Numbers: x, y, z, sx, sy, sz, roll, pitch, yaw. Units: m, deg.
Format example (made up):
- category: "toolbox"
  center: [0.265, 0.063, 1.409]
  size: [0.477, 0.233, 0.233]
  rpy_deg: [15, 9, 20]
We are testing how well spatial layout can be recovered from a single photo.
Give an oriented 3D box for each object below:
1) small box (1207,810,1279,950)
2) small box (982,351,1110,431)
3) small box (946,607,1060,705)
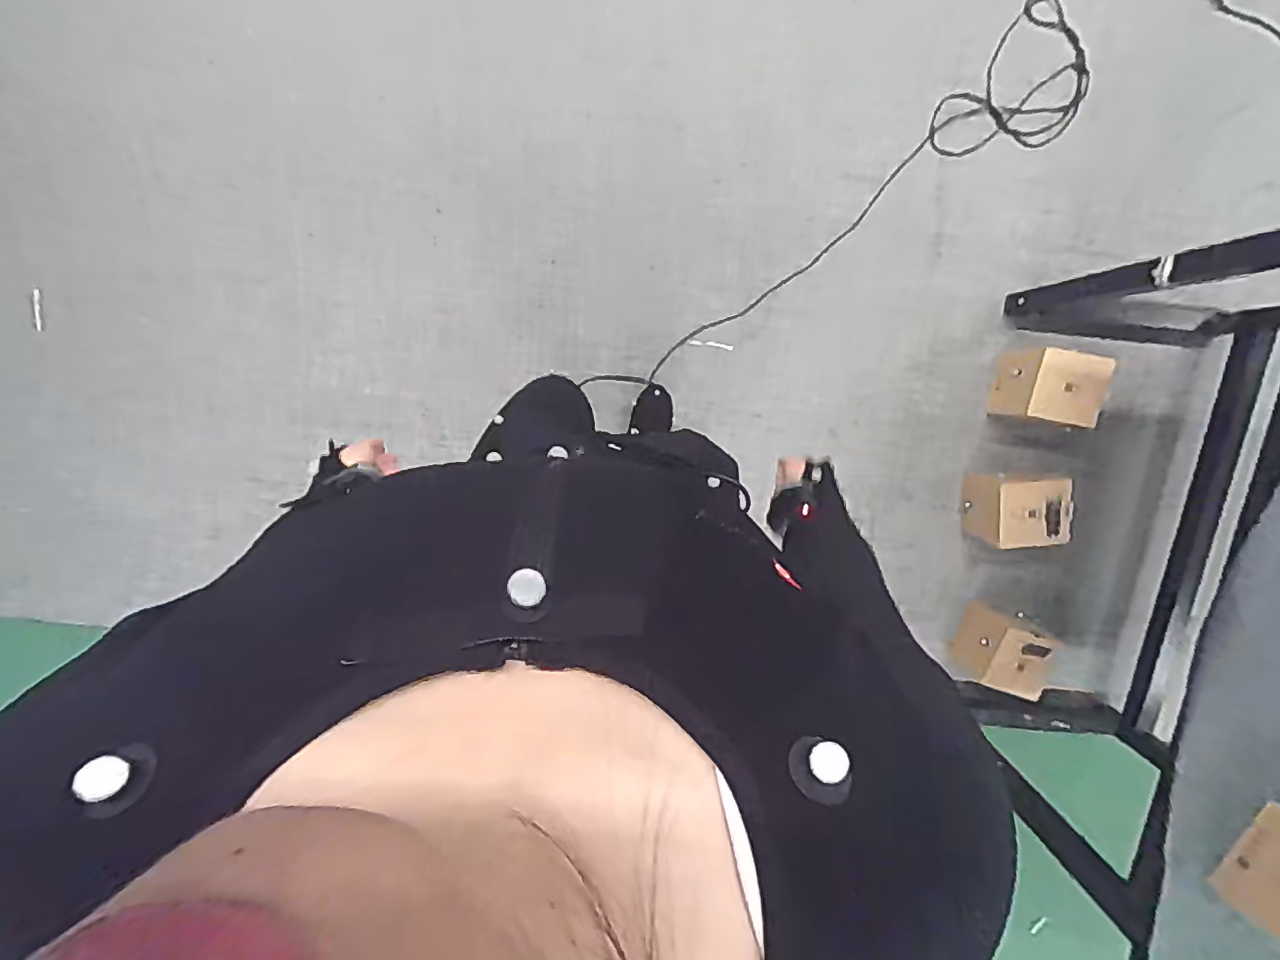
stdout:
- category: "small box"
  center: [0.992, 0.615, 0.767]
  size: [0.179, 0.176, 0.168]
  rpy_deg: [26, 99, -7]
- category: "small box"
  center: [1.014, -0.222, 1.368]
  size: [0.179, 0.176, 0.168]
  rpy_deg: [10, 99, -3]
- category: "small box"
  center: [0.983, 0.474, 1.485]
  size: [0.168, 0.176, 0.179]
  rpy_deg: [19, 101, -3]
